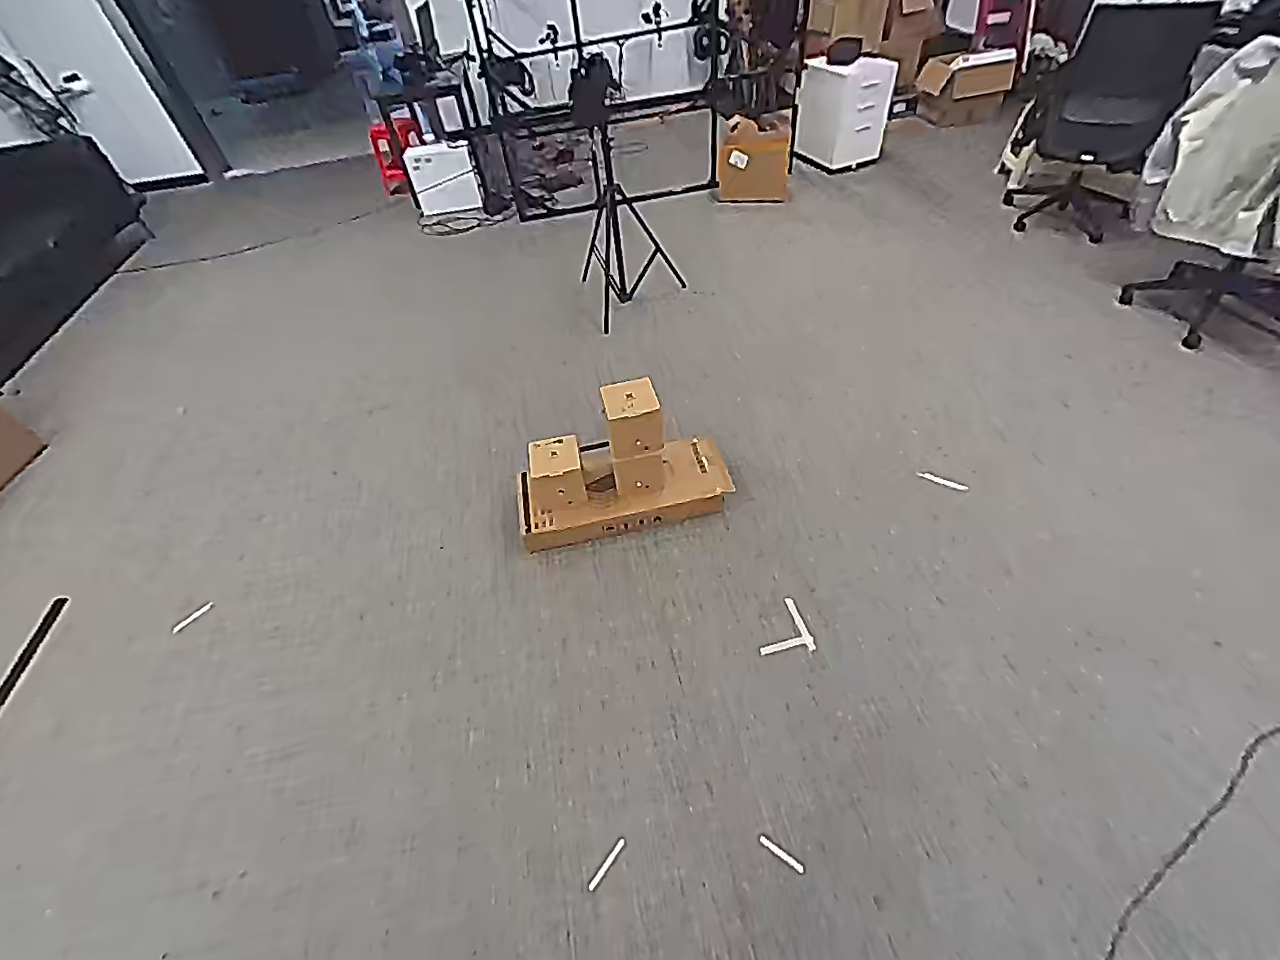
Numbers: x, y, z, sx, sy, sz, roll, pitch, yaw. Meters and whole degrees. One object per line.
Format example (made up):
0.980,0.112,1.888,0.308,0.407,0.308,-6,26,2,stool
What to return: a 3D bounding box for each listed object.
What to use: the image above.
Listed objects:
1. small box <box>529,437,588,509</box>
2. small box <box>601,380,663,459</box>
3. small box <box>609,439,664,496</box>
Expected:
-0.277,-0.016,1.850,0.168,0.176,0.179,-11,48,-4,small box
-0.026,-0.195,1.759,0.168,0.176,0.179,-13,47,-4,small box
-0.014,-0.070,1.868,0.168,0.176,0.179,-10,47,-1,small box
